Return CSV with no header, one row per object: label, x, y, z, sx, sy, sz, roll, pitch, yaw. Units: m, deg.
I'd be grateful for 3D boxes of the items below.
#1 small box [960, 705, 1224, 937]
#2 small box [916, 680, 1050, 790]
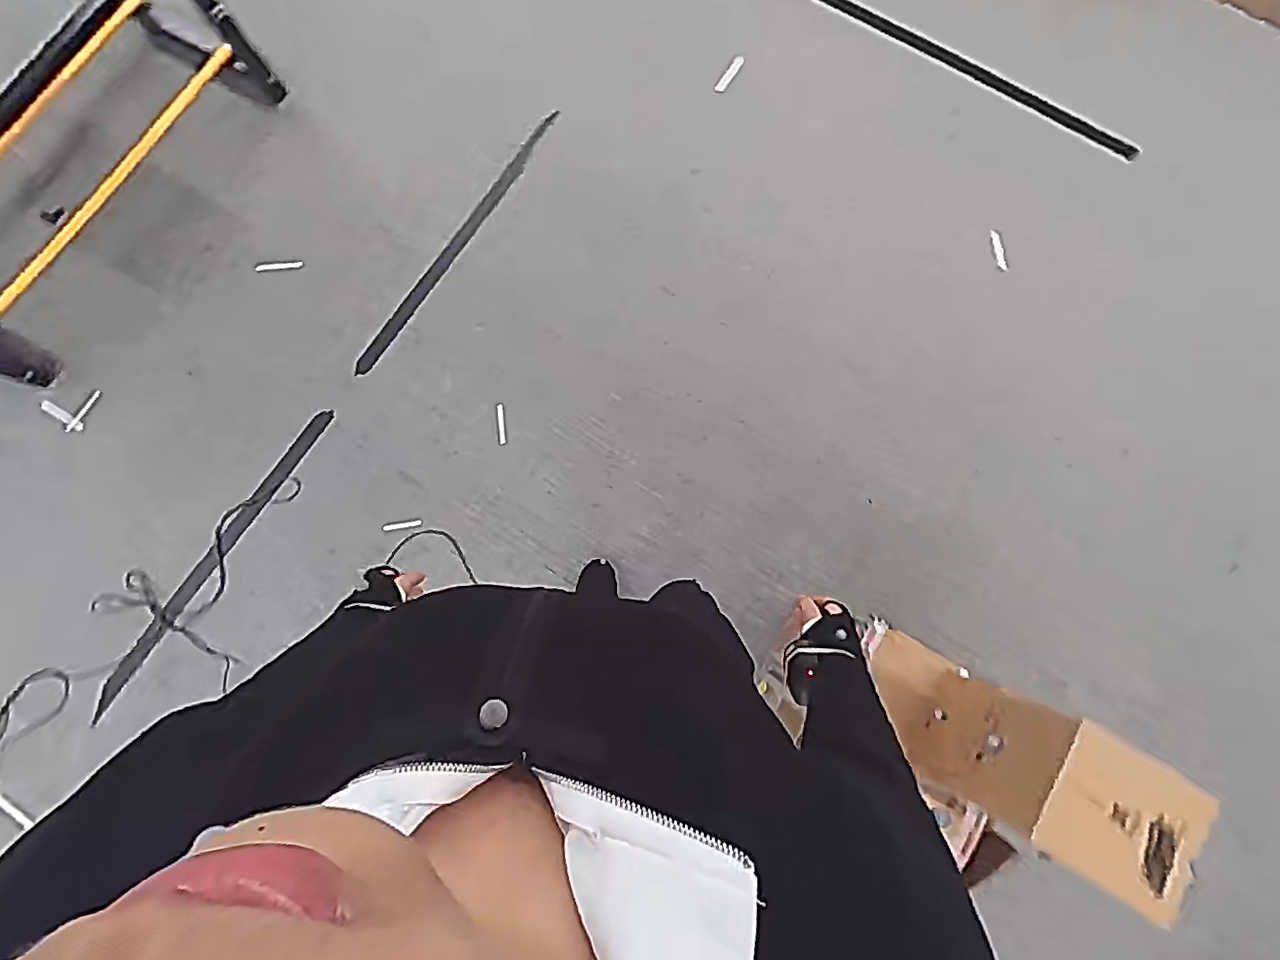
small box,0.576,0.426,0.716,0.179,0.176,0.168,32,81,9
small box,0.593,0.447,0.879,0.179,0.176,0.168,29,80,8
